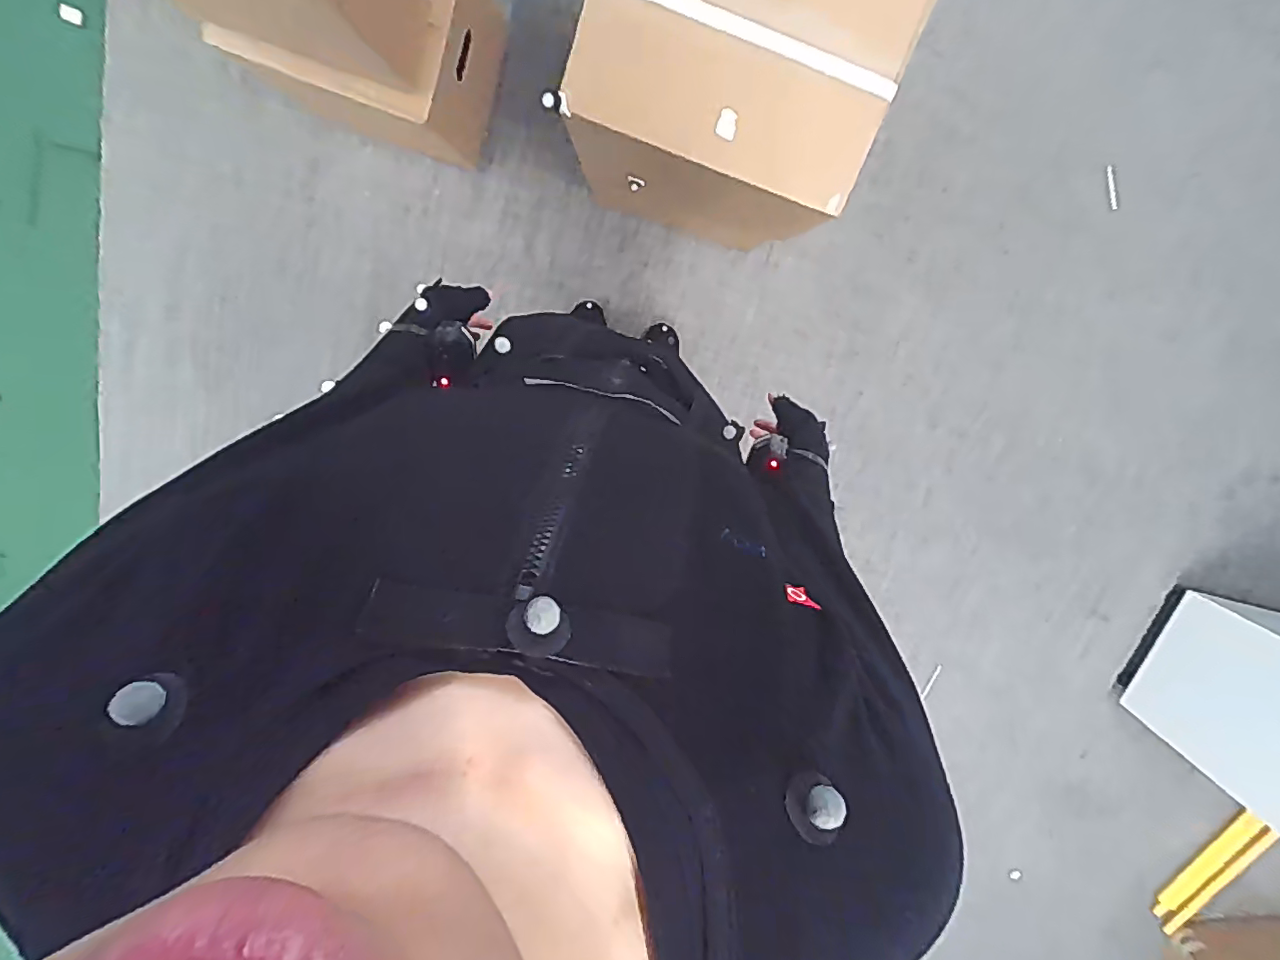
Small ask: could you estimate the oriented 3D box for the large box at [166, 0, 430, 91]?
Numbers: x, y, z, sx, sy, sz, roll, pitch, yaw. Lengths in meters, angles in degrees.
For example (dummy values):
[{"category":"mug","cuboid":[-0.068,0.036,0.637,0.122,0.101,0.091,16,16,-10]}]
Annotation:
[{"category":"large box","cuboid":[-0.545,-0.845,0.765,0.408,0.320,0.320,17,103,-5]}]
